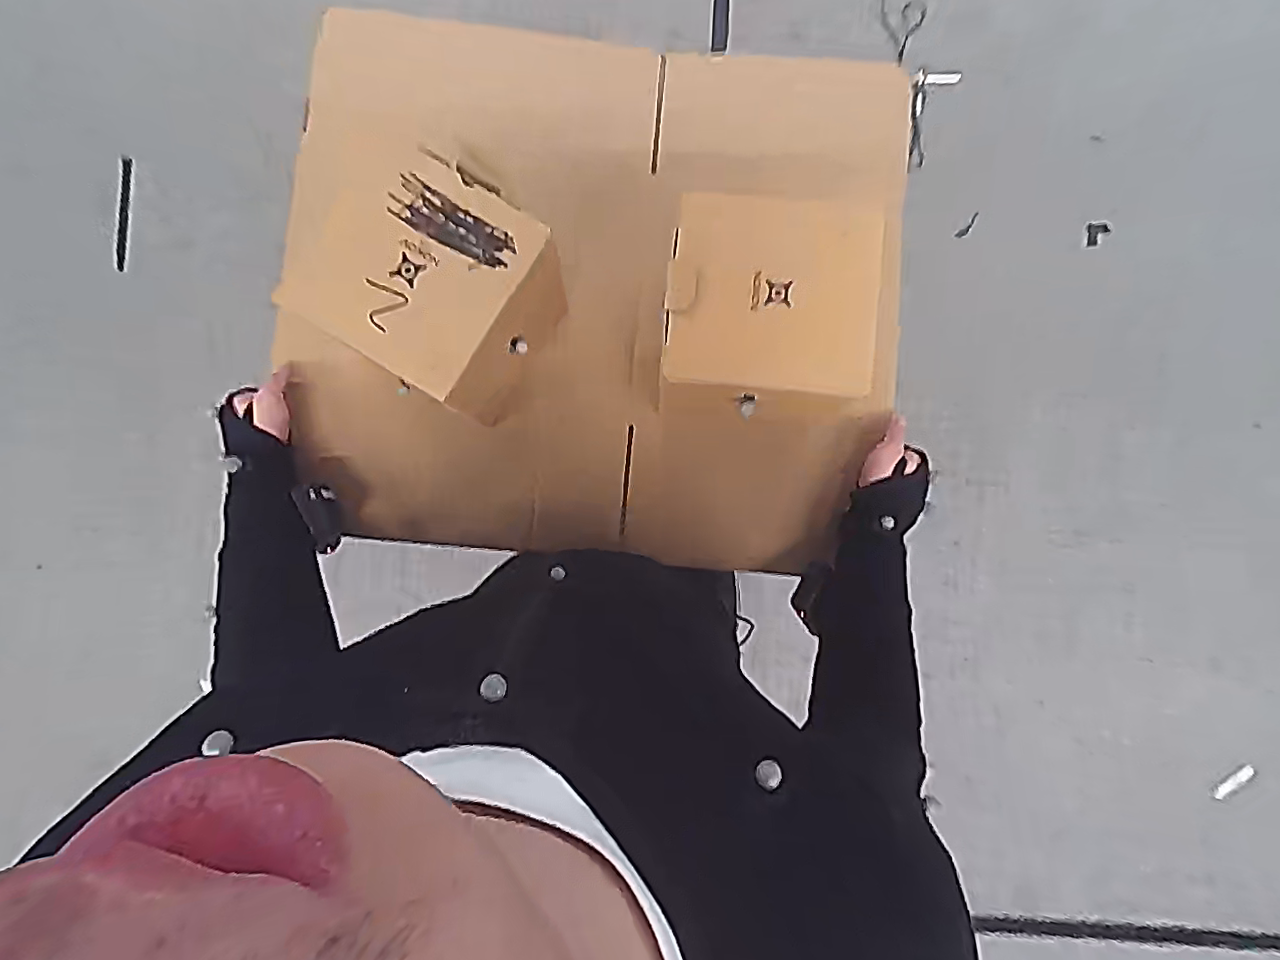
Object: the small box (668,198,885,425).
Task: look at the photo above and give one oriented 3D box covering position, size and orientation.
[{"bbox_3d":[0.123,-0.155,0.551,0.179,0.176,0.168,6,85,4],"label":"small box"}]
